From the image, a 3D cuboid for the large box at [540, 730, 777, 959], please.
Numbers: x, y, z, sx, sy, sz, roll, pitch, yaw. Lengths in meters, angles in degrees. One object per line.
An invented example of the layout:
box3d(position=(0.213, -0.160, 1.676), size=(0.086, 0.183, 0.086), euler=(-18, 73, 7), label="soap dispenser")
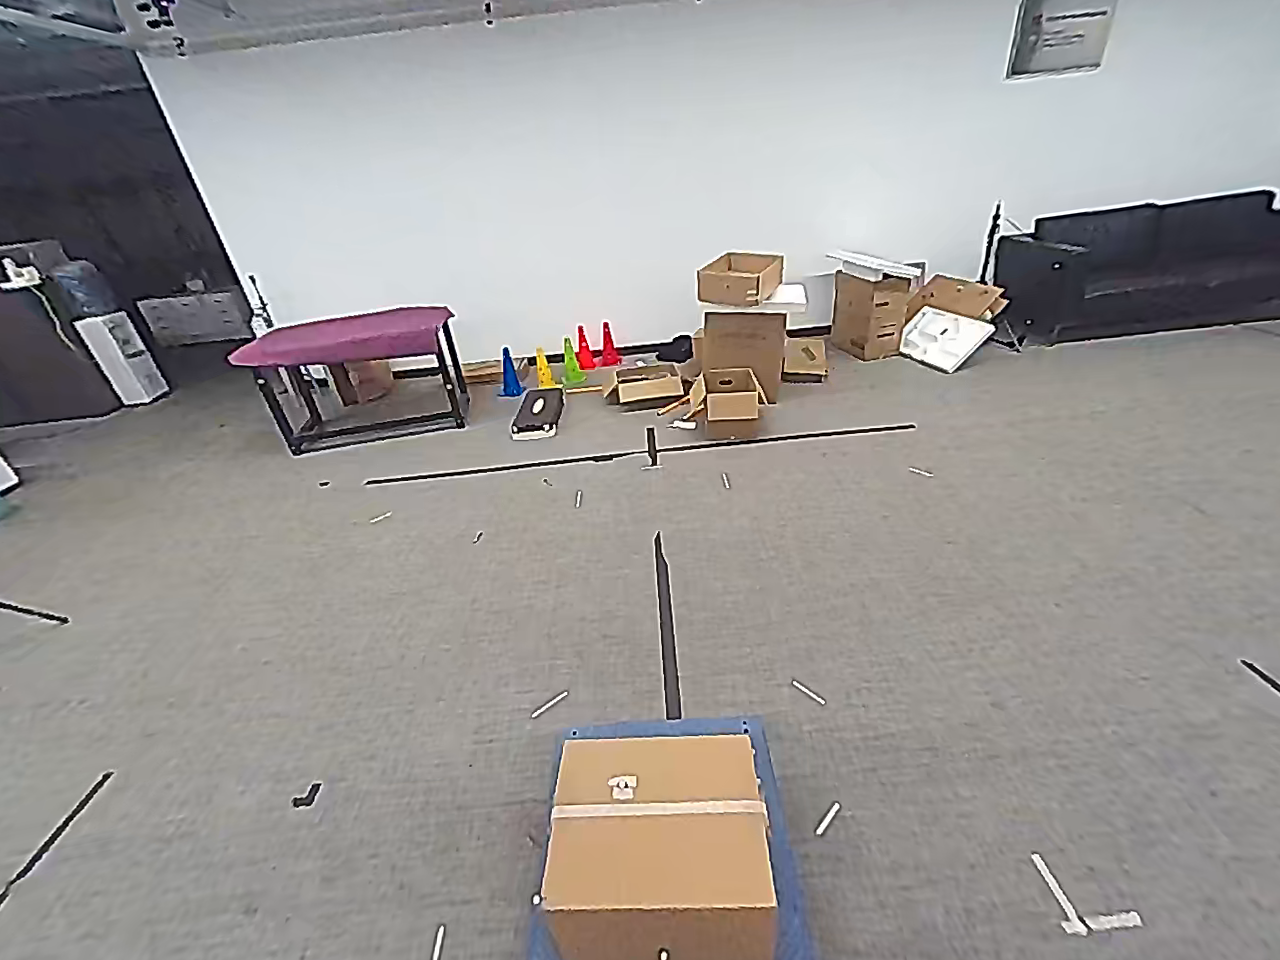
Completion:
box3d(position=(0.046, 0.753, 1.101), size=(0.408, 0.320, 0.320), euler=(-5, 30, 4), label="large box")
